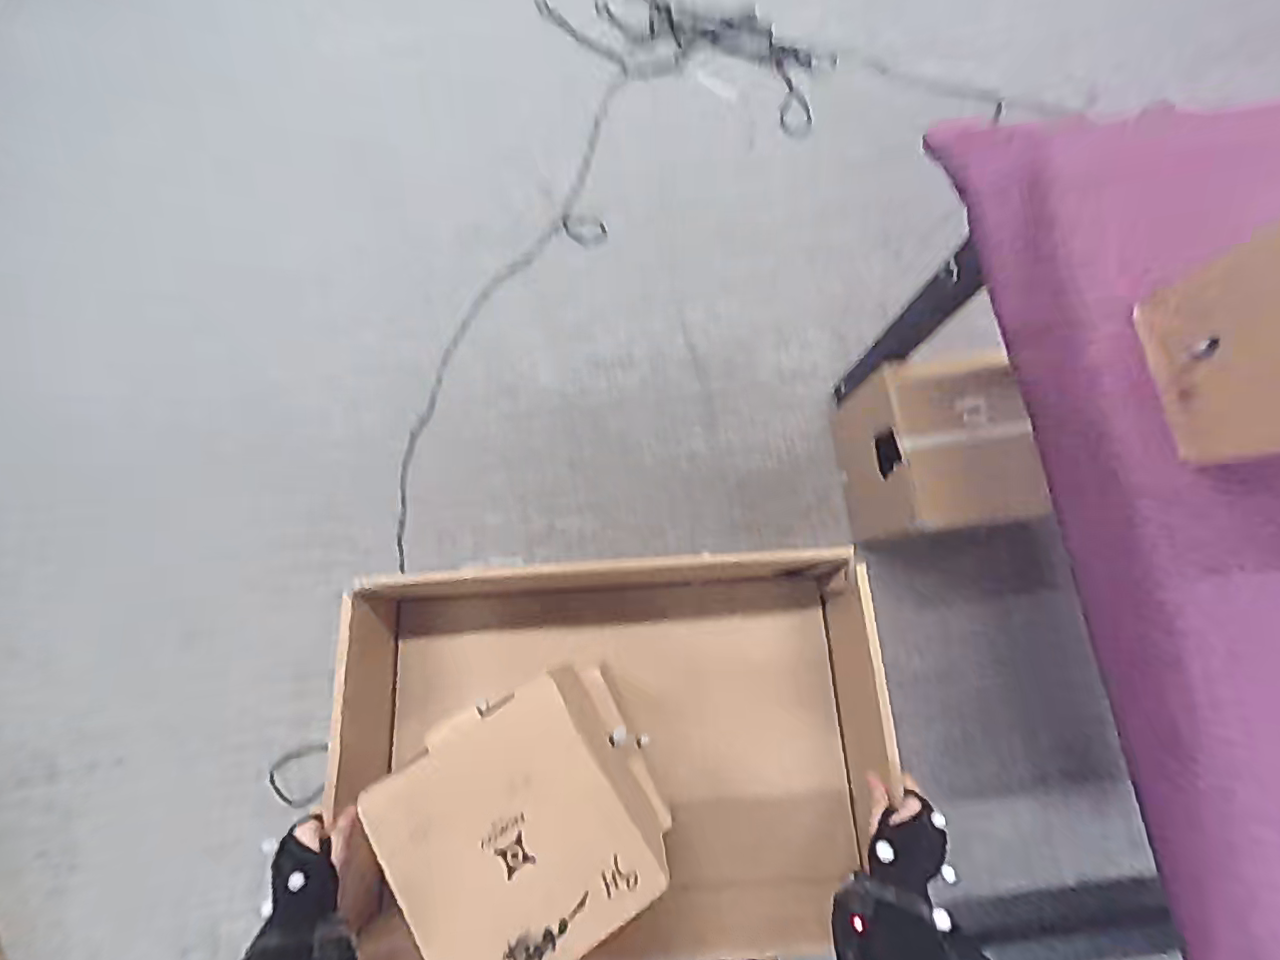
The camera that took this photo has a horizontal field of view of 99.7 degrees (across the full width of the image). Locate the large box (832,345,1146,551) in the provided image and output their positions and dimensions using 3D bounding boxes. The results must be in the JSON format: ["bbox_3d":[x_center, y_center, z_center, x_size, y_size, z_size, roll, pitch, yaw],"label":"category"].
[{"bbox_3d":[0.663,-0.042,1.106,0.408,0.320,0.320,-8,77,1],"label":"large box"}]

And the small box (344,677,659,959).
[{"bbox_3d":[-0.100,0.286,0.455,0.168,0.176,0.179,-32,76,-9],"label":"small box"}]

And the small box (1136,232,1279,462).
[{"bbox_3d":[0.584,-0.119,0.447,0.179,0.176,0.168,-7,78,0],"label":"small box"}]
